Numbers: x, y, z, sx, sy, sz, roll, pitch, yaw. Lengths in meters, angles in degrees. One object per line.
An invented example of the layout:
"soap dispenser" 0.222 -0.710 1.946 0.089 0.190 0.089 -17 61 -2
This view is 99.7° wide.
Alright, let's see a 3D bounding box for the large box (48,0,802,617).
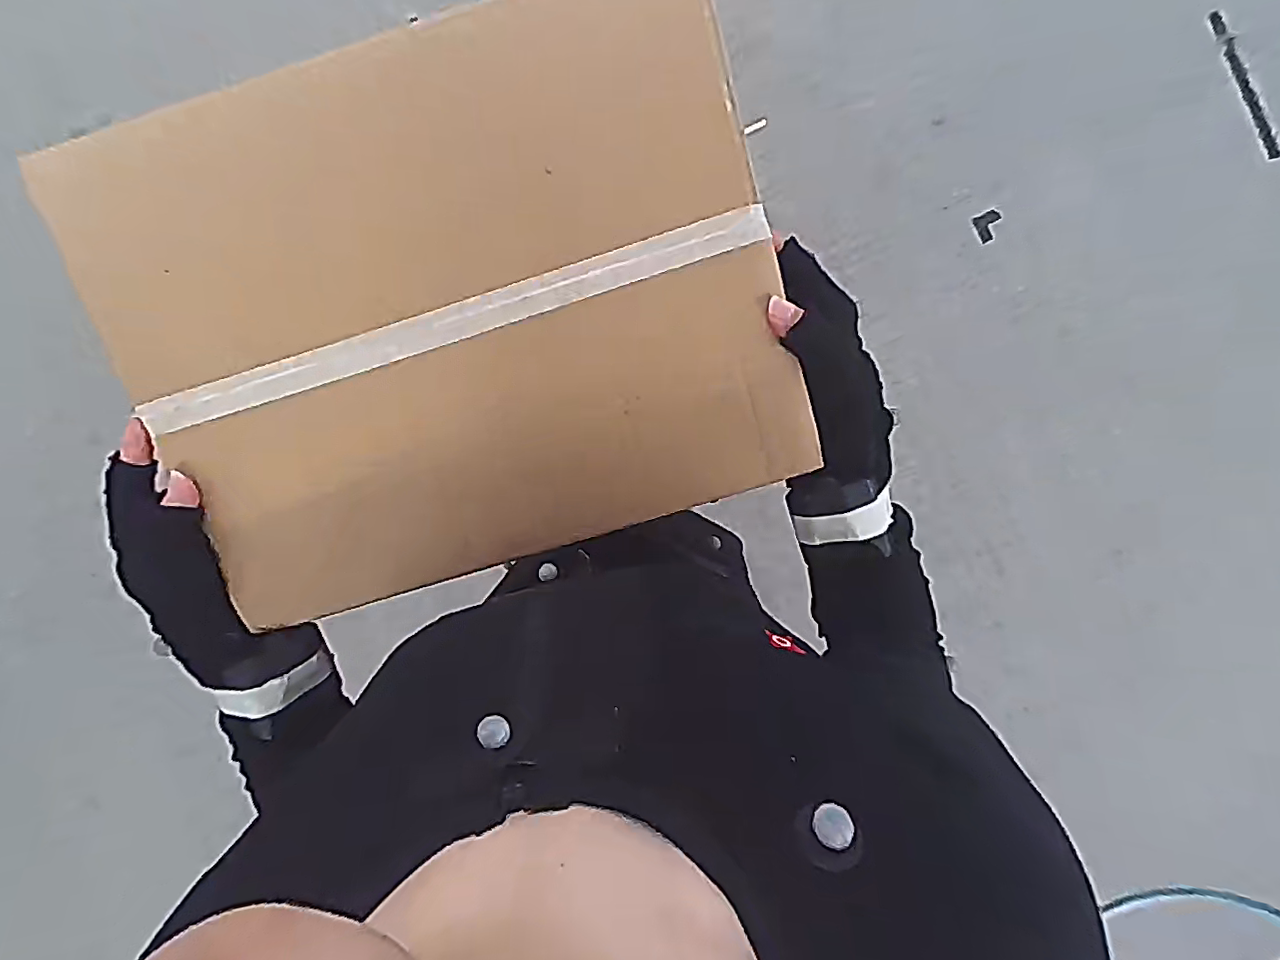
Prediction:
"large box" -0.123 -0.134 0.488 0.408 0.320 0.320 -17 101 3
